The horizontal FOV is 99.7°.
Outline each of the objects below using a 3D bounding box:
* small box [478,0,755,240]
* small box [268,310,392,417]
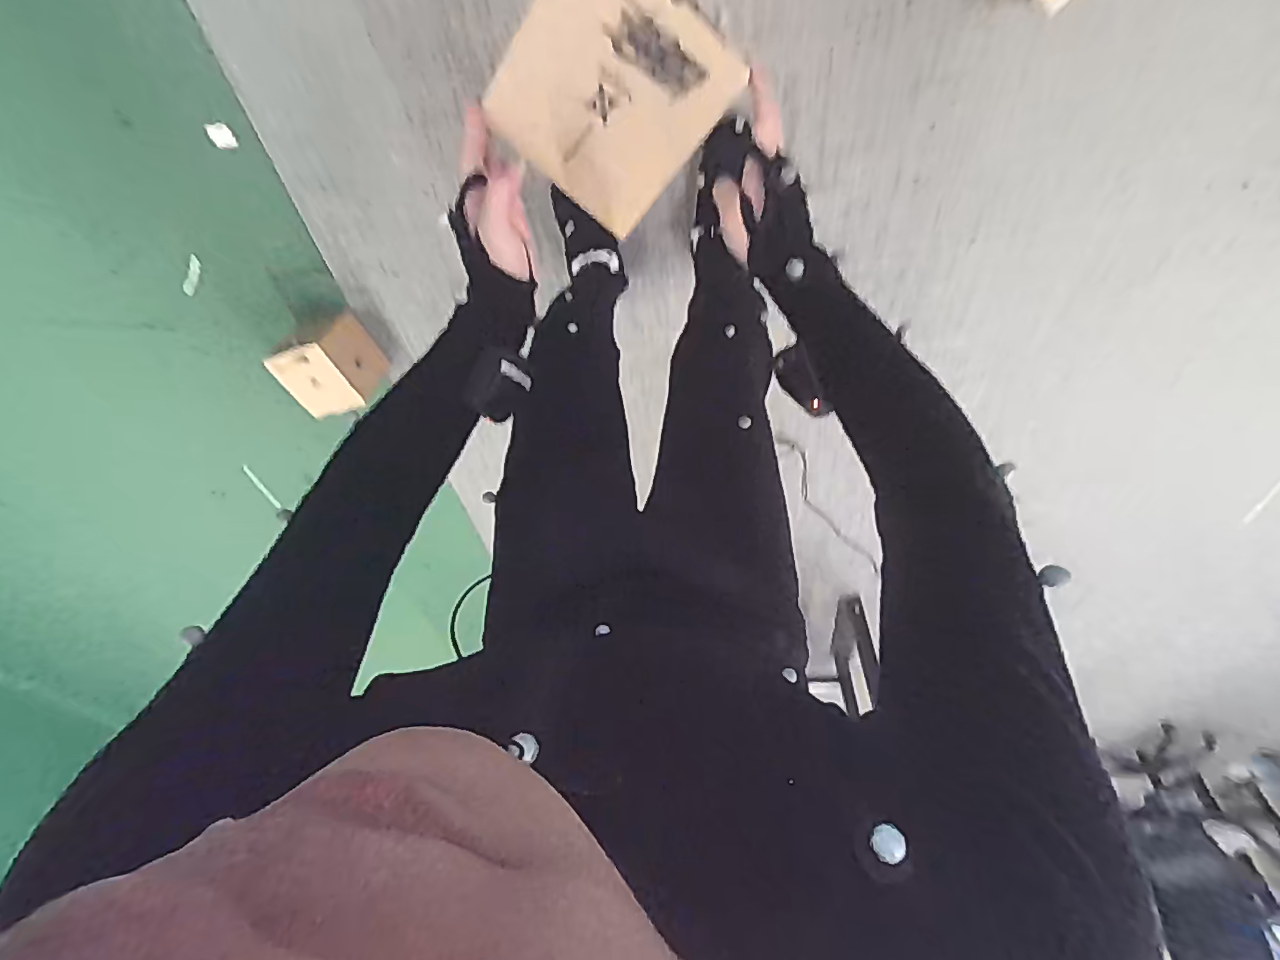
[{"bbox_3d":[-0.020,-0.373,0.503,0.168,0.176,0.179,33,127,-24],"label":"small box"},{"bbox_3d":[-0.754,-0.288,1.338,0.168,0.176,0.179,-11,134,15],"label":"small box"}]
